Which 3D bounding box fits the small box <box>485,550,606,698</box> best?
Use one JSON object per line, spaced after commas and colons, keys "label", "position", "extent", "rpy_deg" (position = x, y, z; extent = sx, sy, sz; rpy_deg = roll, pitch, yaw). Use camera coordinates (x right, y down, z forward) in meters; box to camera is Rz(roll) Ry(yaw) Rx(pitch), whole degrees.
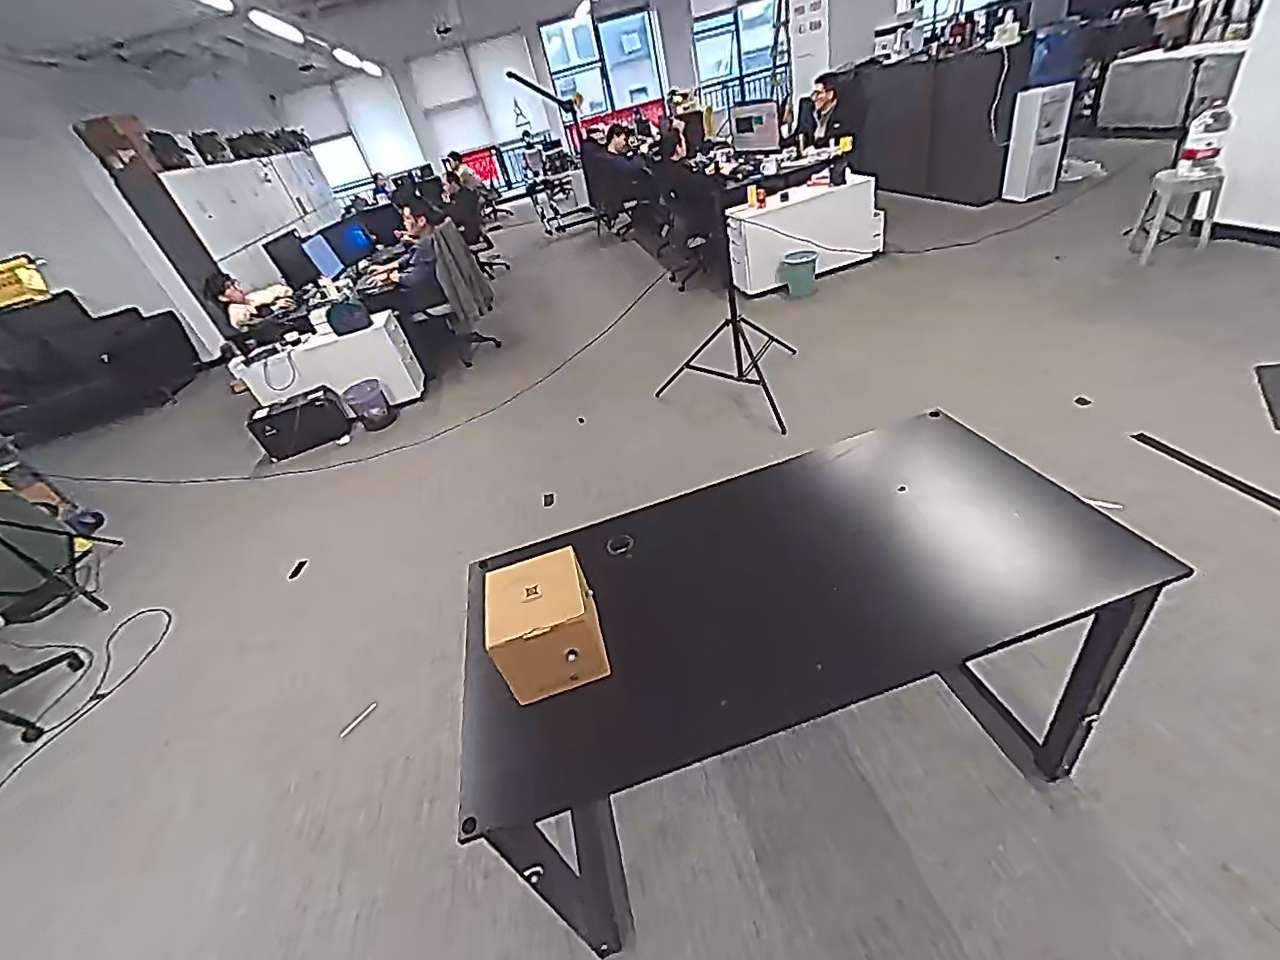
{"label": "small box", "position": [-0.167, 0.261, 0.966], "extent": [0.168, 0.176, 0.179], "rpy_deg": [-17, 34, -5]}
